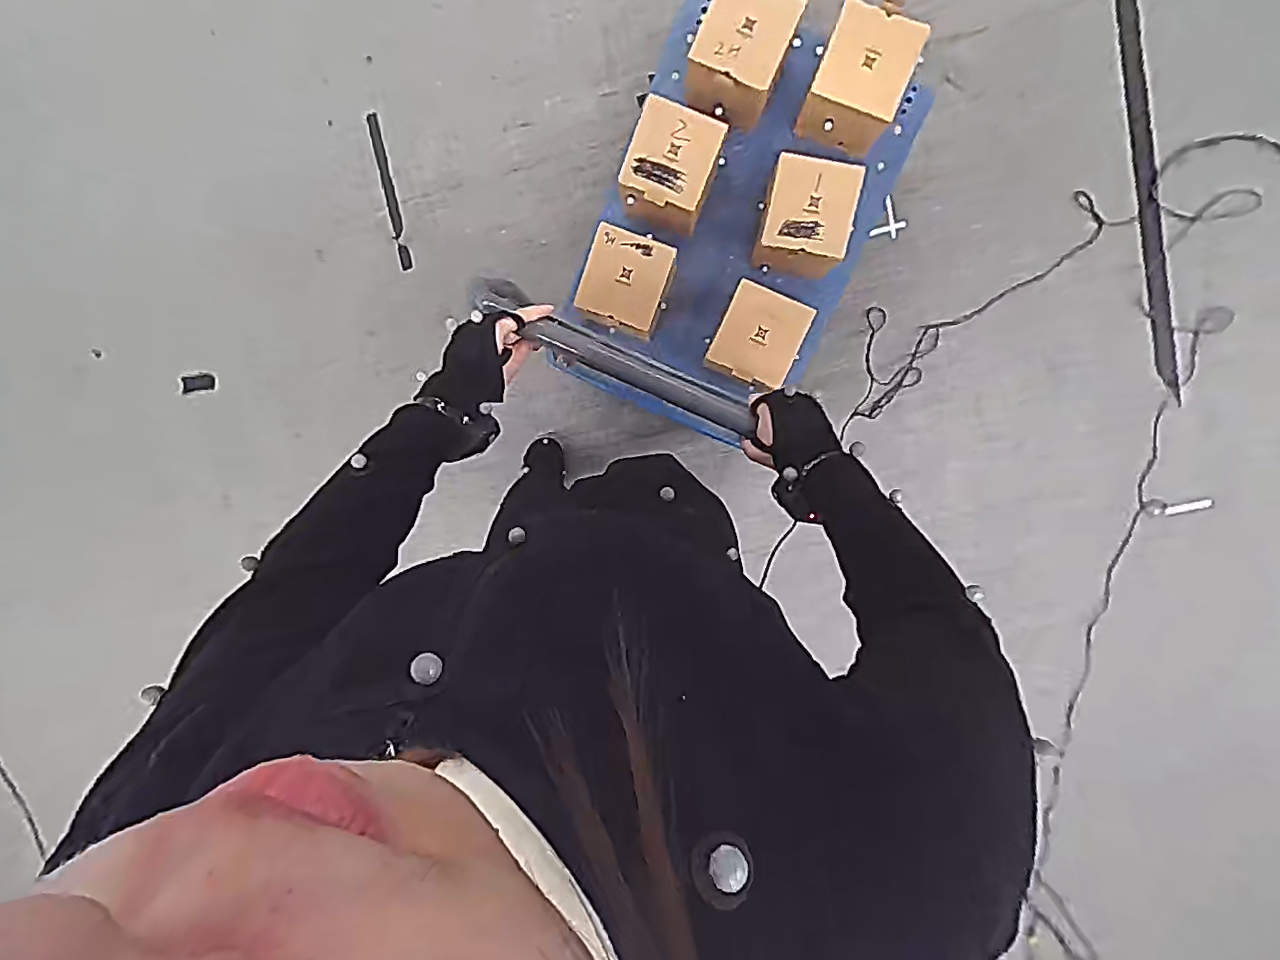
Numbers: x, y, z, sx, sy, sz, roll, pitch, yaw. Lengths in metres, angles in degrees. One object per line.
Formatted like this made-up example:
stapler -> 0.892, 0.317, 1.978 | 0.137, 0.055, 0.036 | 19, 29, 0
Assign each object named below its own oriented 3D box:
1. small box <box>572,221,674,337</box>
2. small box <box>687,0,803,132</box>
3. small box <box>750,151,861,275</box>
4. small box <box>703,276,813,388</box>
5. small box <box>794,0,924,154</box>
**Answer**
small box -> -0.030, -0.422, 1.171 | 0.168, 0.176, 0.179 | 20, 99, 0
small box -> 0.200, -0.859, 1.094 | 0.168, 0.176, 0.179 | 25, 99, 0
small box -> 0.335, -0.547, 1.132 | 0.168, 0.176, 0.179 | 12, 98, 2
small box -> 0.245, -0.308, 1.172 | 0.168, 0.176, 0.179 | 24, 98, -1
small box -> 0.427, -0.800, 1.092 | 0.168, 0.176, 0.179 | 21, 99, 0
